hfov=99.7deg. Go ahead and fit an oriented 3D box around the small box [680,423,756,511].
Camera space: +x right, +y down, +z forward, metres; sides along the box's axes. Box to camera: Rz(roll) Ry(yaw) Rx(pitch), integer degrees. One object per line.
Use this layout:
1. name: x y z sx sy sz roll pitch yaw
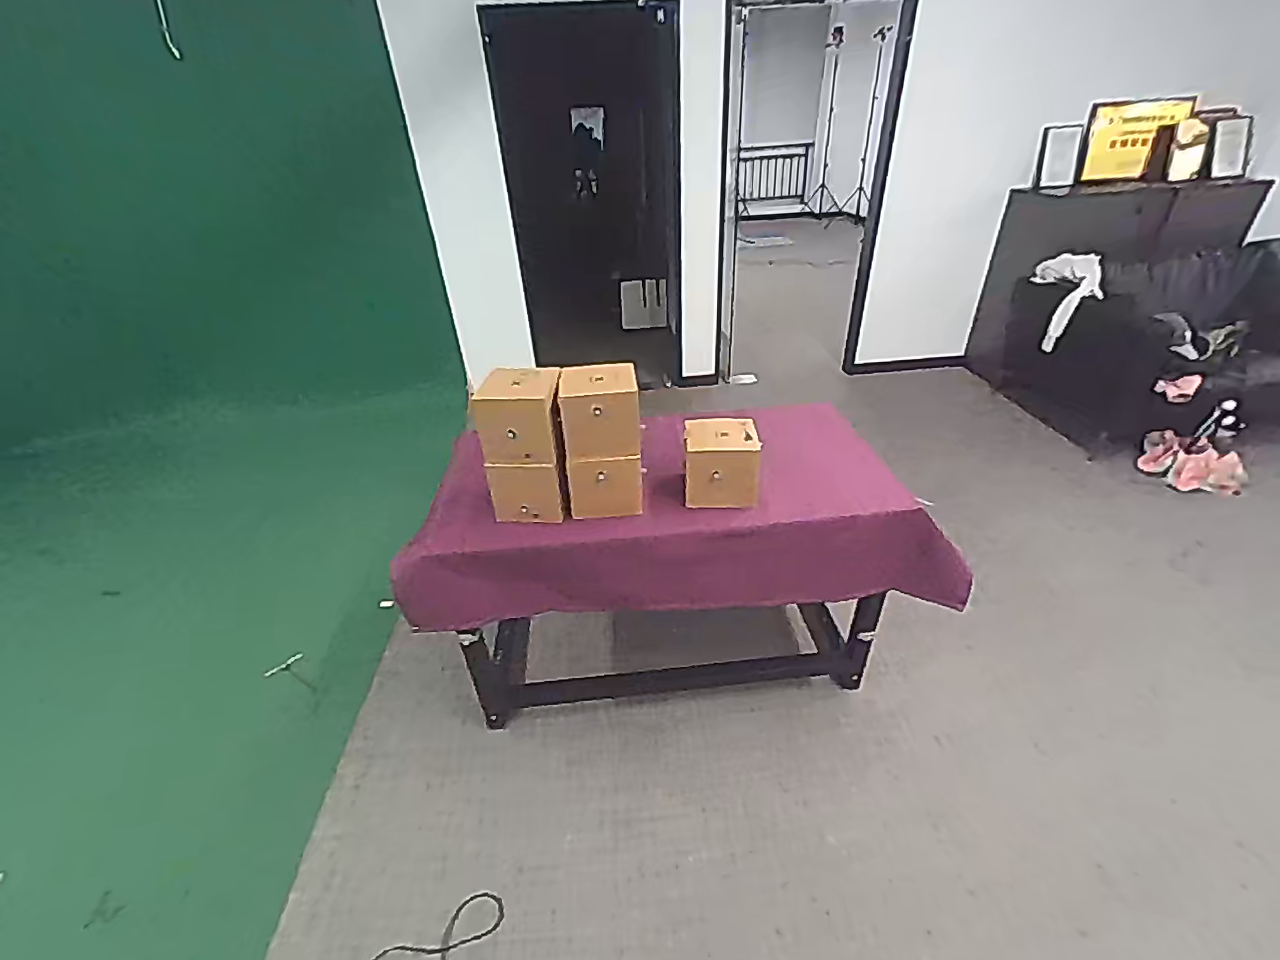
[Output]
1. small box: 0.193 -0.033 1.369 0.179 0.176 0.168 -1 33 4
